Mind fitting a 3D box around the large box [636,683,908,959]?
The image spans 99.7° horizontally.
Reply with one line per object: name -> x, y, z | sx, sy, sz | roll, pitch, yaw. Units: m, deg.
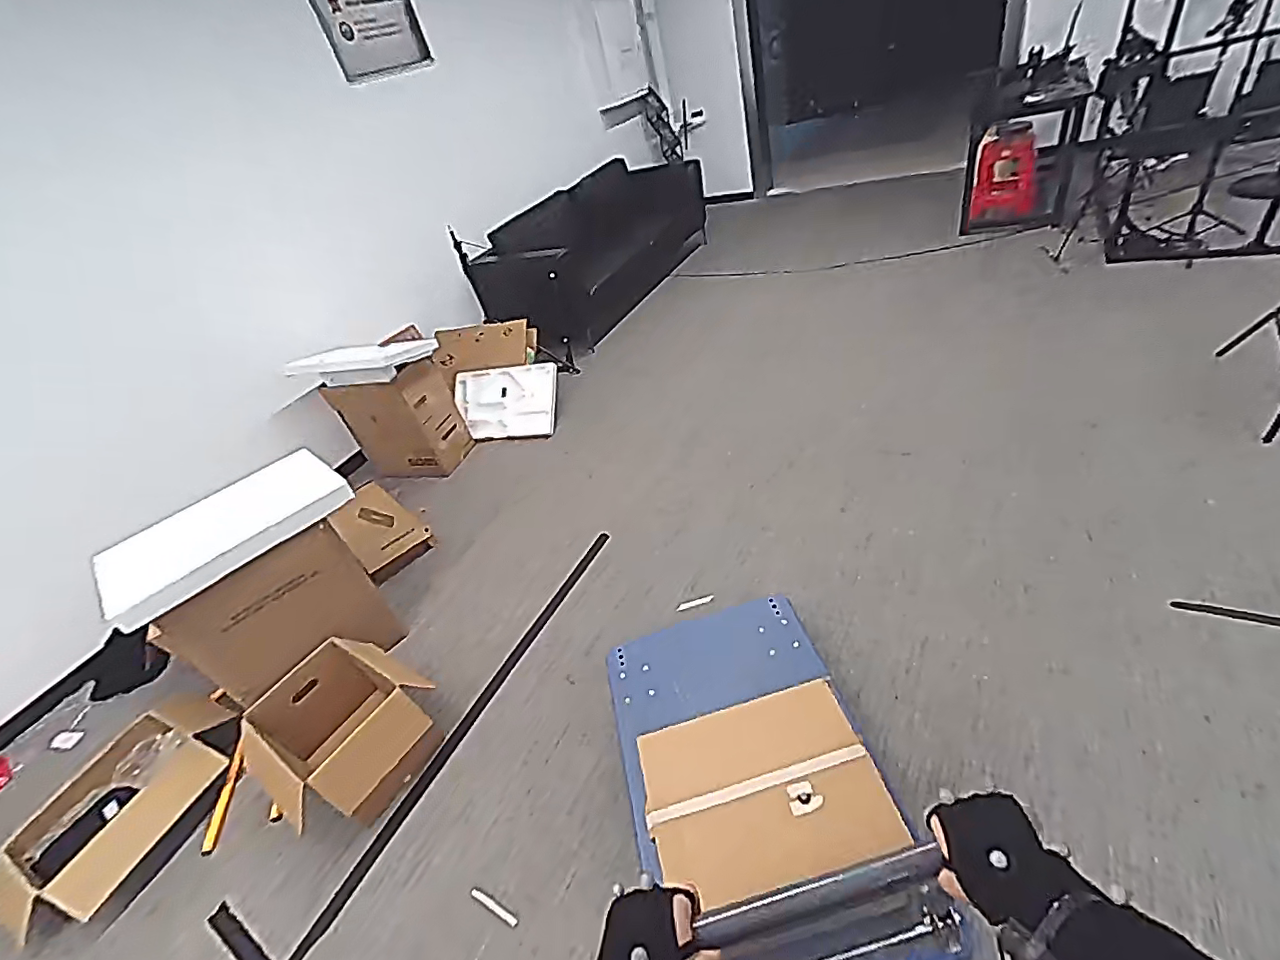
large box -> 0.240, 0.671, 1.055 | 0.408, 0.320, 0.320 | -17, 37, -2
